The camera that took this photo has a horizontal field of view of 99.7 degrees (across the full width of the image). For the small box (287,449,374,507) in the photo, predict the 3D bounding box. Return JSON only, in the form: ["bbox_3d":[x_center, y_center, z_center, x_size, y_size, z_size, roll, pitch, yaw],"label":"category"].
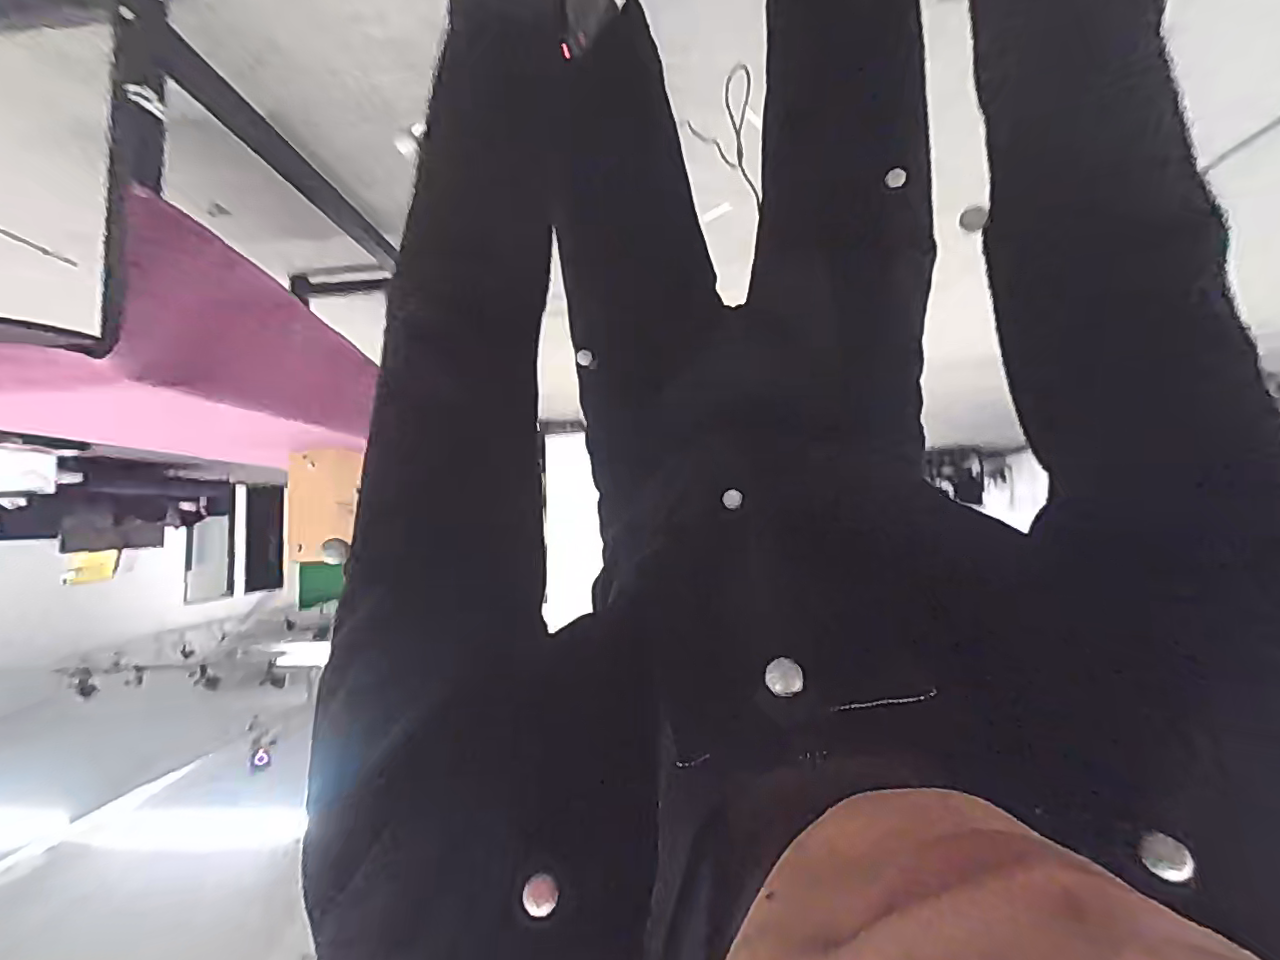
[{"bbox_3d":[-0.948,-0.002,1.668,0.168,0.176,0.179,-3,174,13],"label":"small box"}]

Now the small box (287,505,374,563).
[{"bbox_3d":[-0.946,0.163,1.664,0.179,0.176,0.168,-3,176,14],"label":"small box"}]
